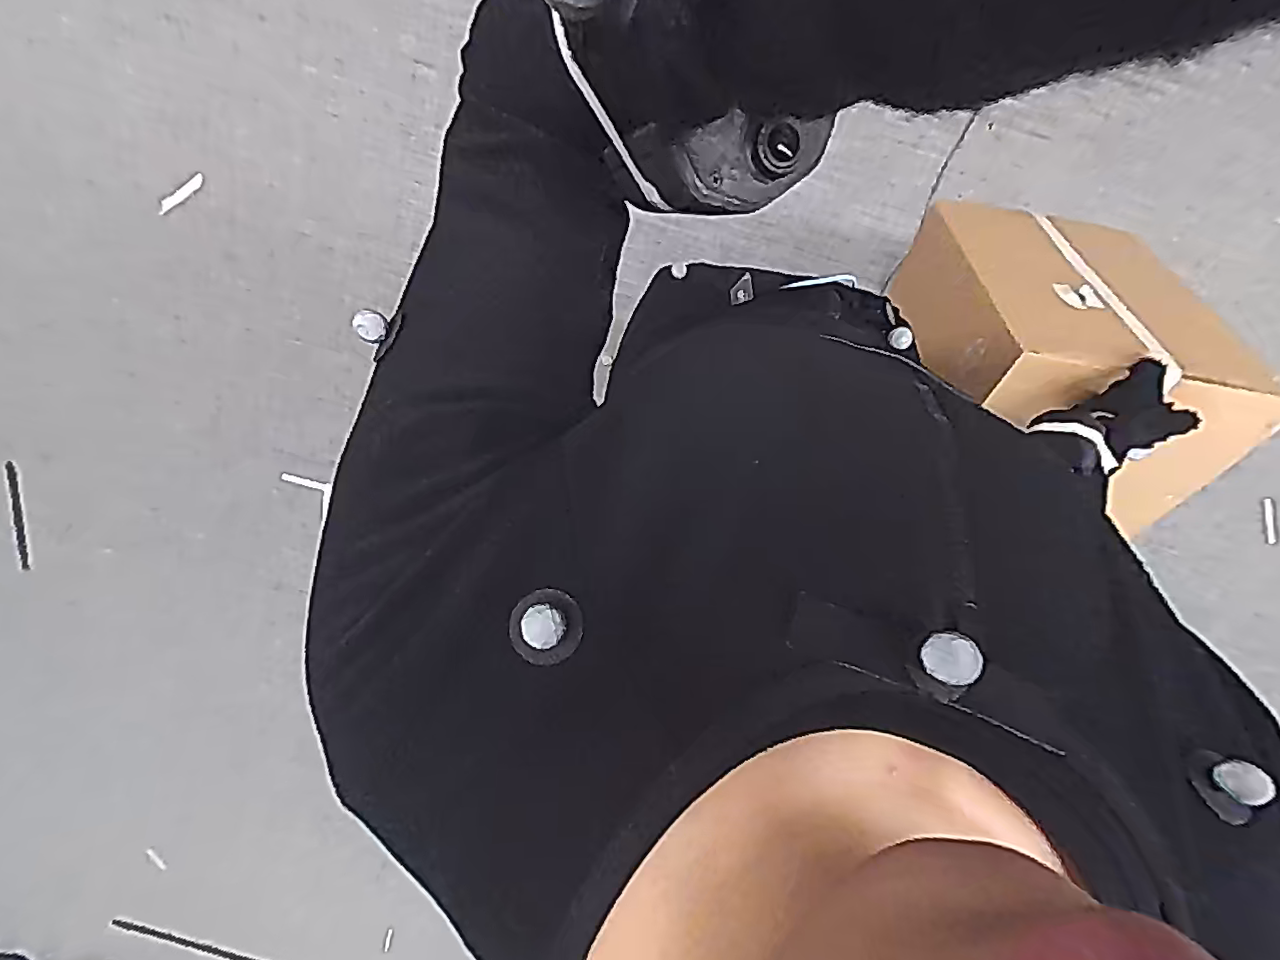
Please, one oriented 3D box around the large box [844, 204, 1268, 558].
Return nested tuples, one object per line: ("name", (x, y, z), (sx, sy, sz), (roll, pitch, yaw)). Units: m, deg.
("large box", (0.542, -0.151, 0.825), (0.320, 0.408, 0.320), (11, 140, -1))
